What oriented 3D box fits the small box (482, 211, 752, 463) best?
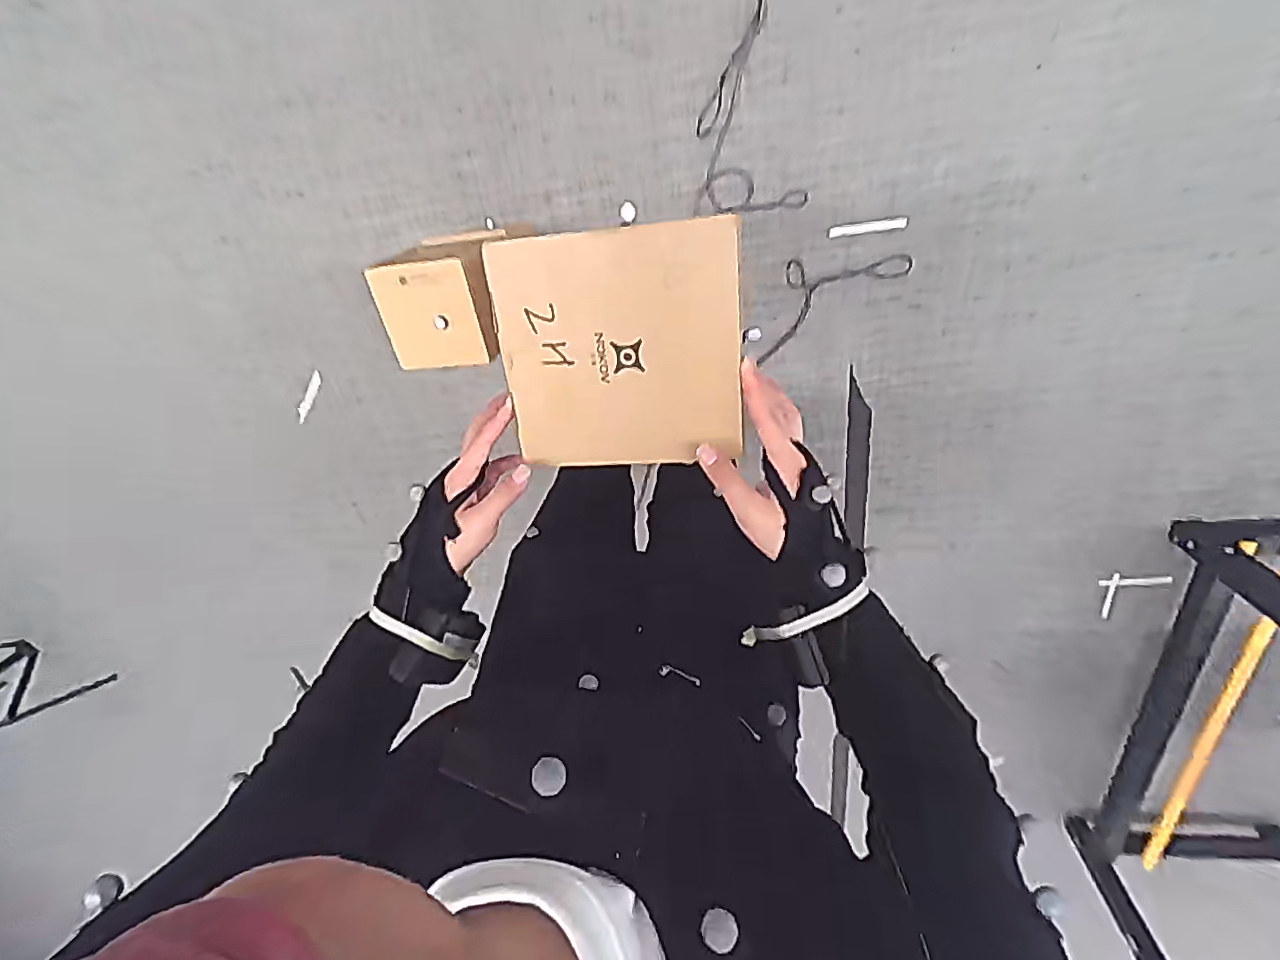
[{"bbox_3d":[0.000,-0.121,0.442,0.179,0.176,0.168,-1,113,11],"label":"small box"}]
